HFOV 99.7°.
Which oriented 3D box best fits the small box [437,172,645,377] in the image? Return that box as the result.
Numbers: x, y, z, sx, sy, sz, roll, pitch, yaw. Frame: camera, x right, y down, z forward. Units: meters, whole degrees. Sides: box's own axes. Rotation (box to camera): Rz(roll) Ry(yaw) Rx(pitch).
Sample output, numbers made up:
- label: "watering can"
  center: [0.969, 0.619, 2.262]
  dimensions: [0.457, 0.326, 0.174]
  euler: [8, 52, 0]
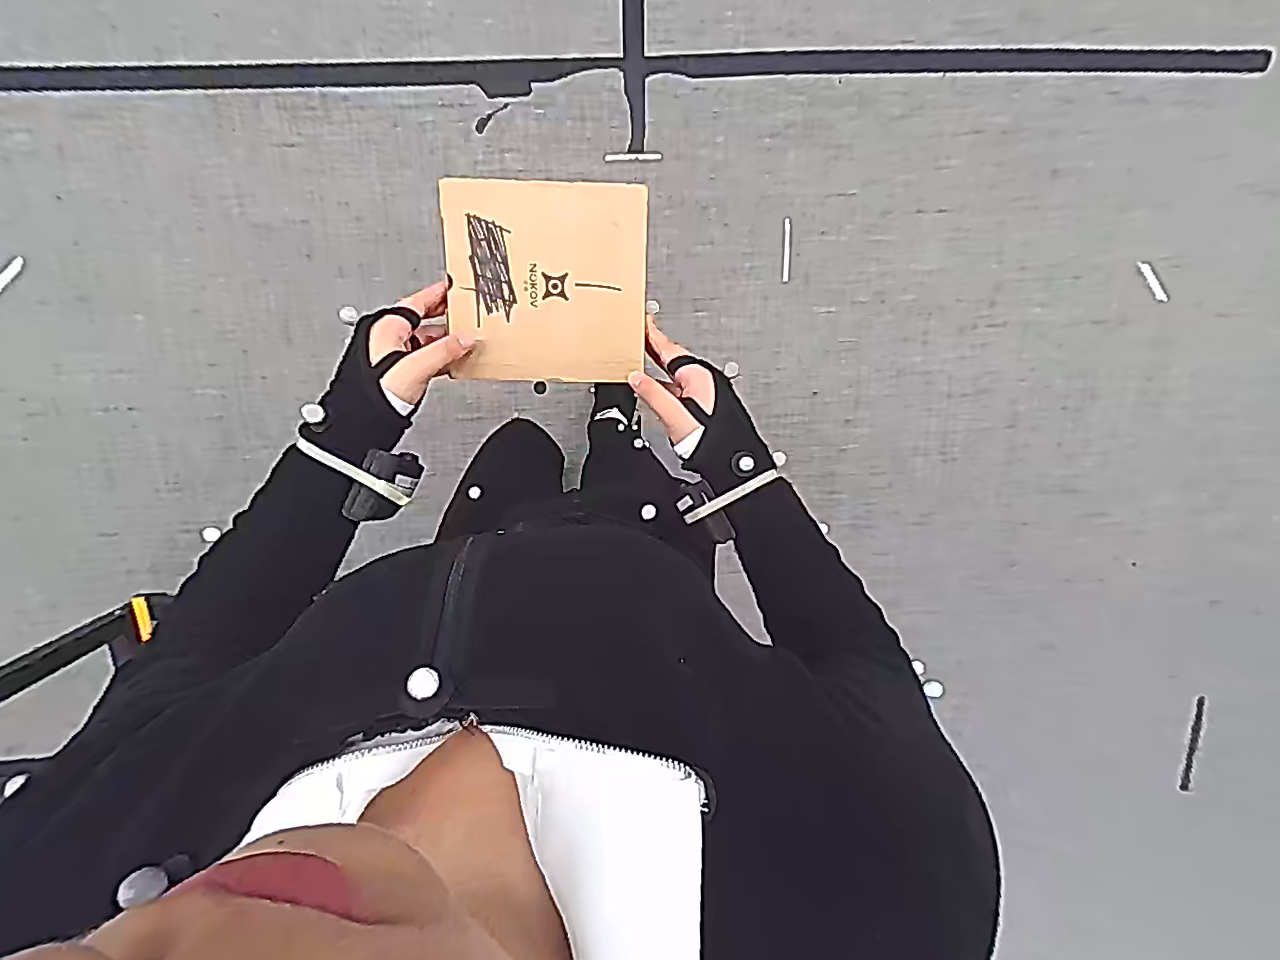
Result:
- label: "small box"
  center: [-0.086, -0.191, 0.544]
  dimensions: [0.179, 0.176, 0.168]
  euler: [1, 103, -1]
